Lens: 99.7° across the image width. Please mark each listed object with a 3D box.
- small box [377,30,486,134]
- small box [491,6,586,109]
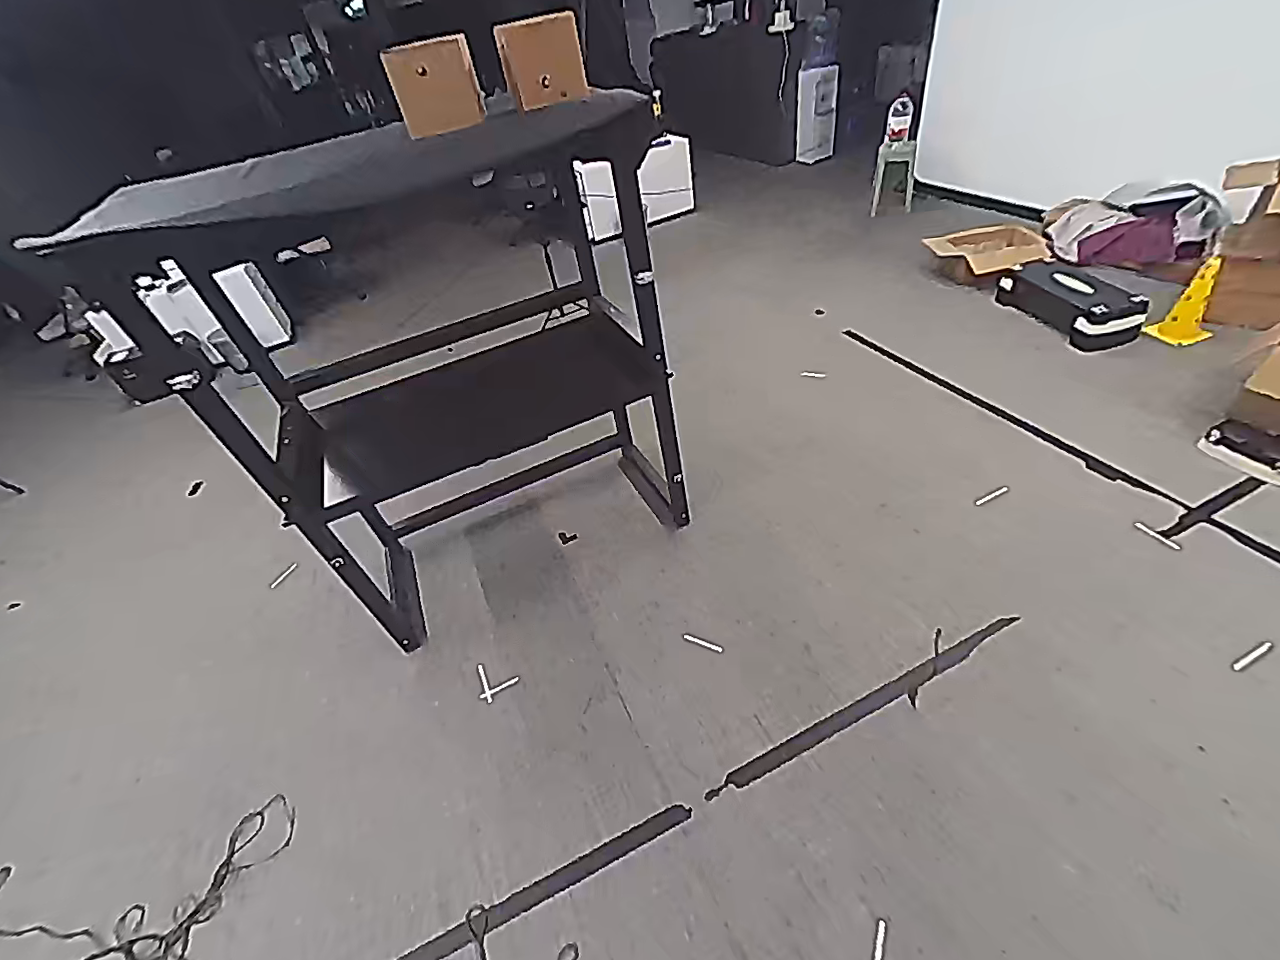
[{"bbox_3d":[-0.484,-0.941,1.280,0.179,0.176,0.168,-12,42,0],"label":"small box"},{"bbox_3d":[-0.242,-1.006,1.293,0.168,0.176,0.179,-20,43,-8],"label":"small box"}]
